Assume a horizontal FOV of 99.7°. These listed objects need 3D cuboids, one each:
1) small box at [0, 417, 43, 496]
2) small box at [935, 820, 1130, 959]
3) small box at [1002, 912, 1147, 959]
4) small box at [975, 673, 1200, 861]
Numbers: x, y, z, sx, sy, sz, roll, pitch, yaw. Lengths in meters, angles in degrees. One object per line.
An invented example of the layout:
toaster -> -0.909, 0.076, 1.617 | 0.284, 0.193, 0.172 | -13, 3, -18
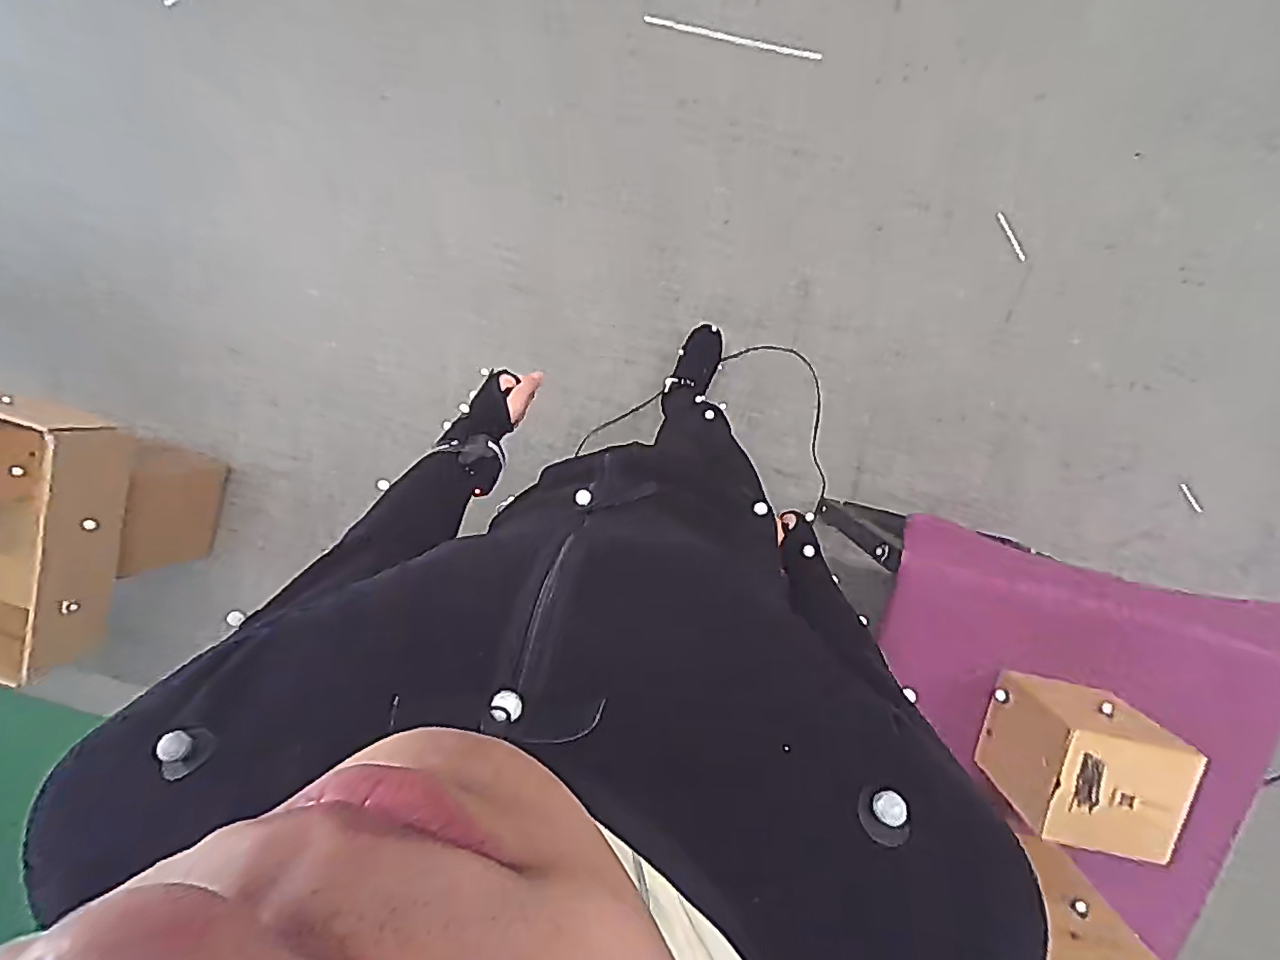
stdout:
small box -> -1.526, -0.057, 1.214 | 0.179, 0.176, 0.168 | 17, 98, 1
small box -> 0.594, 0.686, 0.847 | 0.168, 0.176, 0.179 | 11, 99, 2
small box -> 0.581, 0.705, 0.685 | 0.168, 0.176, 0.179 | 11, 98, 4
small box -> 0.643, 0.411, 0.804 | 0.179, 0.176, 0.168 | 11, 99, 2
